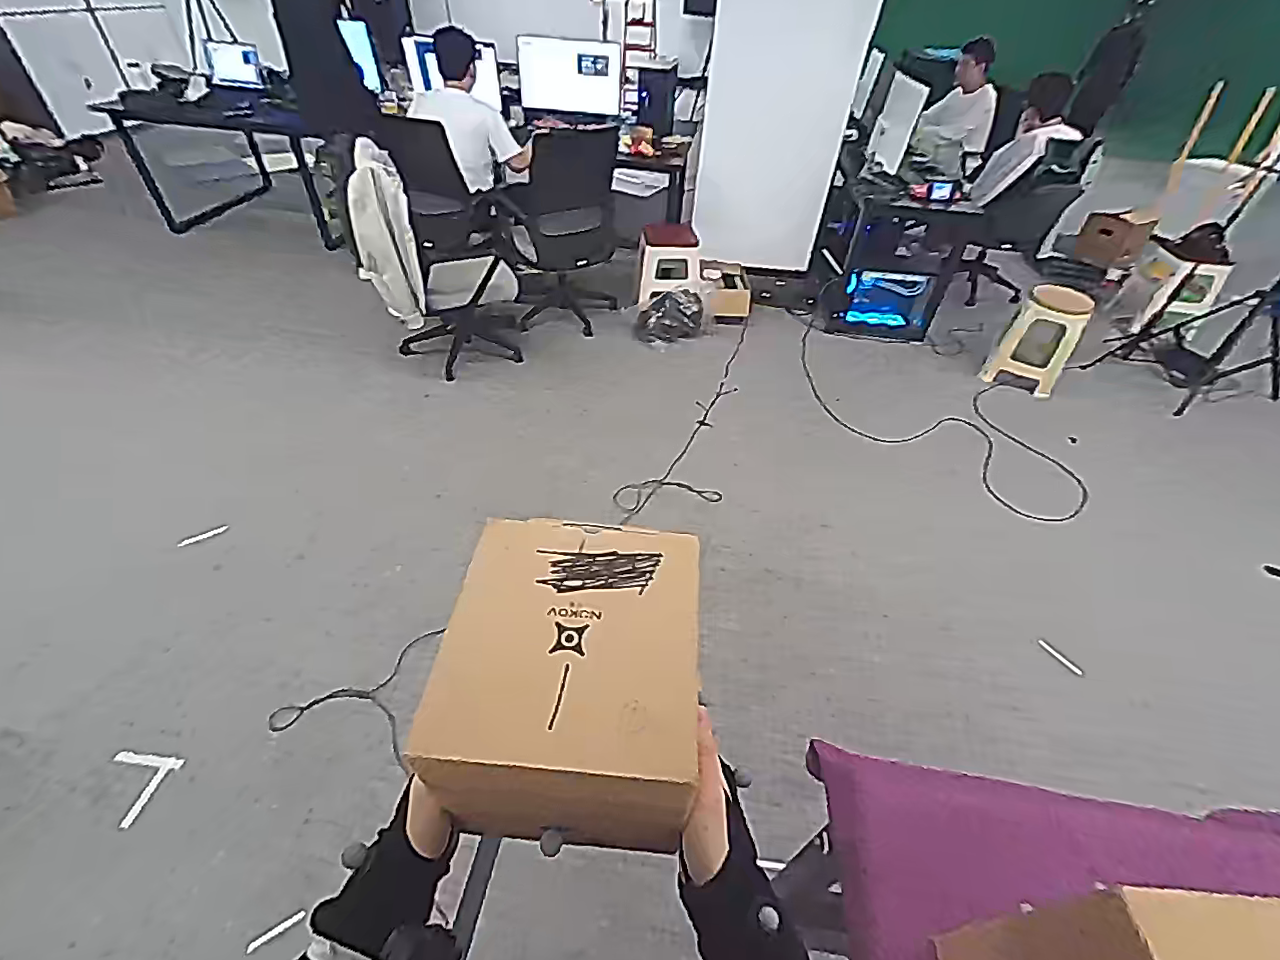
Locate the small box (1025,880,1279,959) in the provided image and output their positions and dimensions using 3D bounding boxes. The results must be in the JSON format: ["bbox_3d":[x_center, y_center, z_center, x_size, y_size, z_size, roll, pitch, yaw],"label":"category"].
[{"bbox_3d":[0.430,0.416,0.397,0.179,0.176,0.168,5,45,-1],"label":"small box"}]

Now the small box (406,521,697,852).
[{"bbox_3d":[-0.047,0.155,0.412,0.168,0.176,0.179,3,45,2],"label":"small box"}]

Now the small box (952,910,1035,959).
[{"bbox_3d":[0.428,0.533,0.510,0.179,0.176,0.168,6,44,0],"label":"small box"}]
